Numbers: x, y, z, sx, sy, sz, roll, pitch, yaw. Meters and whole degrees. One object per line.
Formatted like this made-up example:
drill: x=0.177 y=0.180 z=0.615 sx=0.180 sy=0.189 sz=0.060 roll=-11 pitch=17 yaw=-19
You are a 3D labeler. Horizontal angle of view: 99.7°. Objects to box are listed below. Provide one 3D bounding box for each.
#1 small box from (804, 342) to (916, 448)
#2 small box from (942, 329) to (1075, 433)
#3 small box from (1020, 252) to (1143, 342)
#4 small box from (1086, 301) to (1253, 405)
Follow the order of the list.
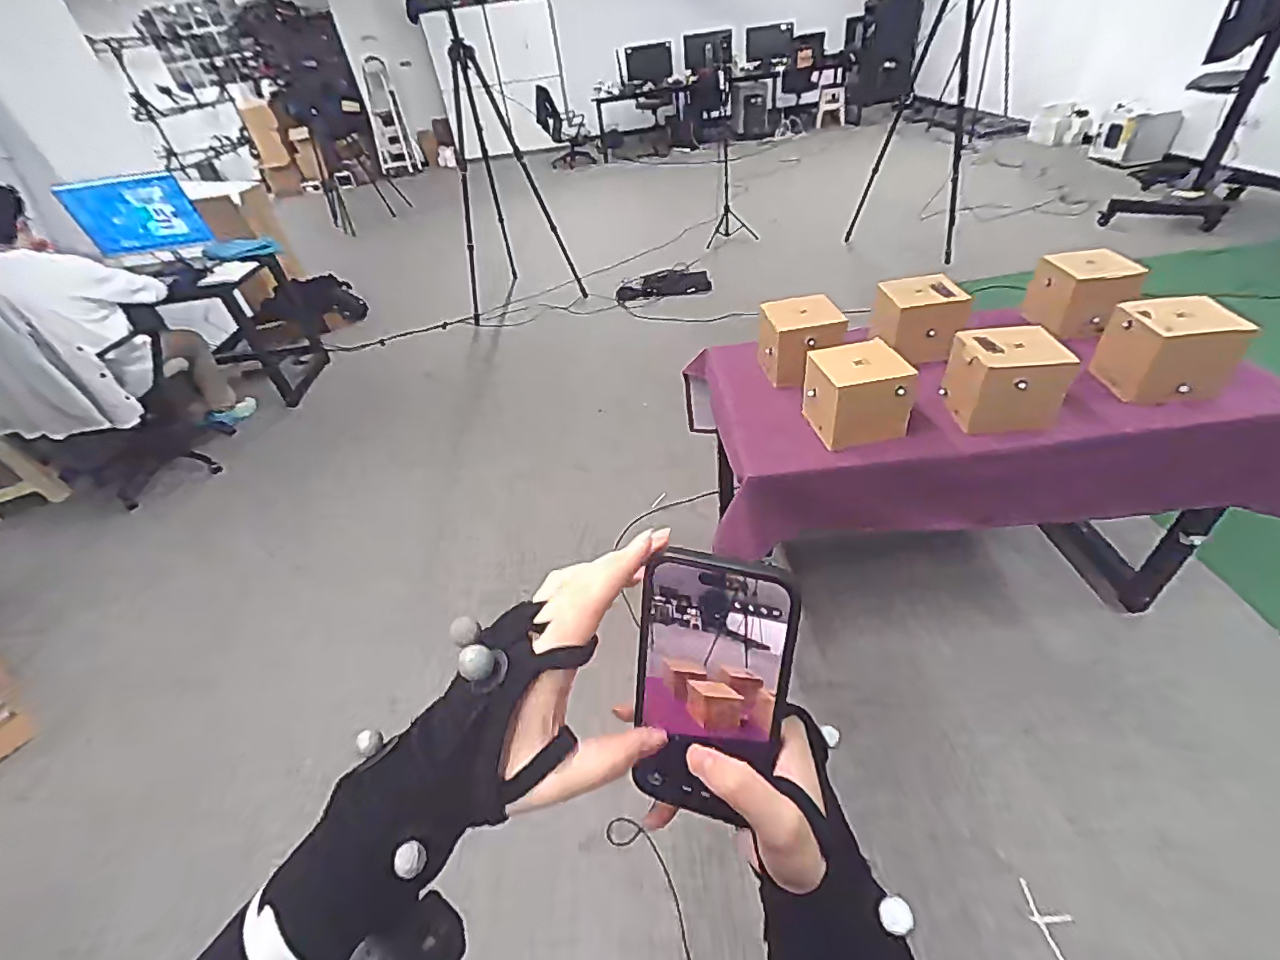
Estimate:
small box: x=0.479 y=-0.187 z=1.212 sx=0.179 sy=0.176 sz=0.168 roll=-10 pitch=40 yaw=-3
small box: x=0.791 y=-0.215 z=1.189 sx=0.179 sy=0.176 sz=0.168 roll=-2 pitch=41 yaw=6
small box: x=1.157 y=-0.486 z=1.438 sx=0.168 sy=0.176 sz=0.179 roll=-5 pitch=41 yaw=5
small box: x=1.156 y=-0.280 z=1.201 sx=0.179 sy=0.176 sz=0.168 roll=-2 pitch=40 yaw=7
